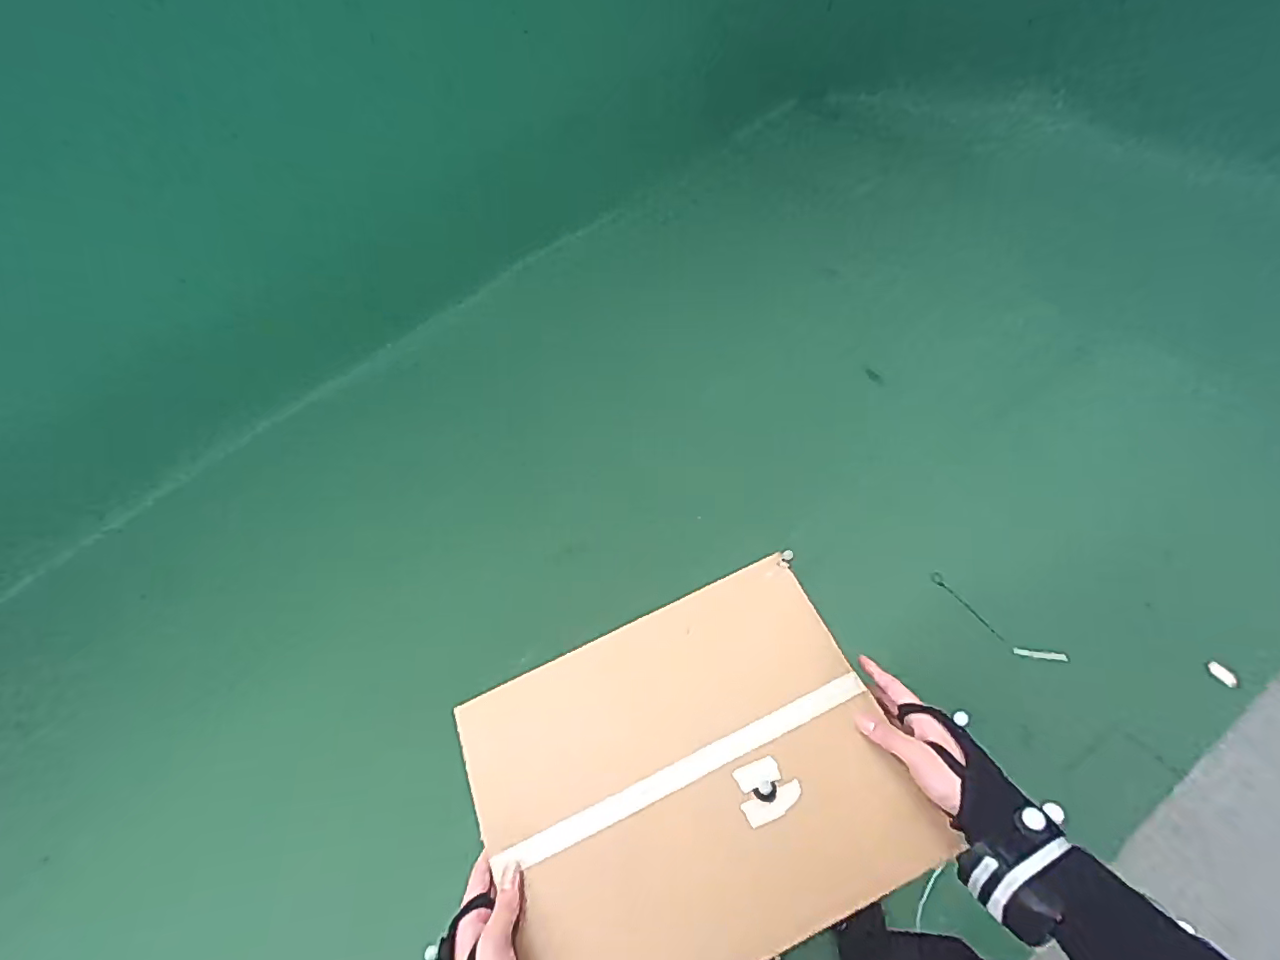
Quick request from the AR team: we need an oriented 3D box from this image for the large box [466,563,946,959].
[{"bbox_3d":[0.062,0.369,0.675,0.408,0.320,0.320,-24,61,-5],"label":"large box"}]
